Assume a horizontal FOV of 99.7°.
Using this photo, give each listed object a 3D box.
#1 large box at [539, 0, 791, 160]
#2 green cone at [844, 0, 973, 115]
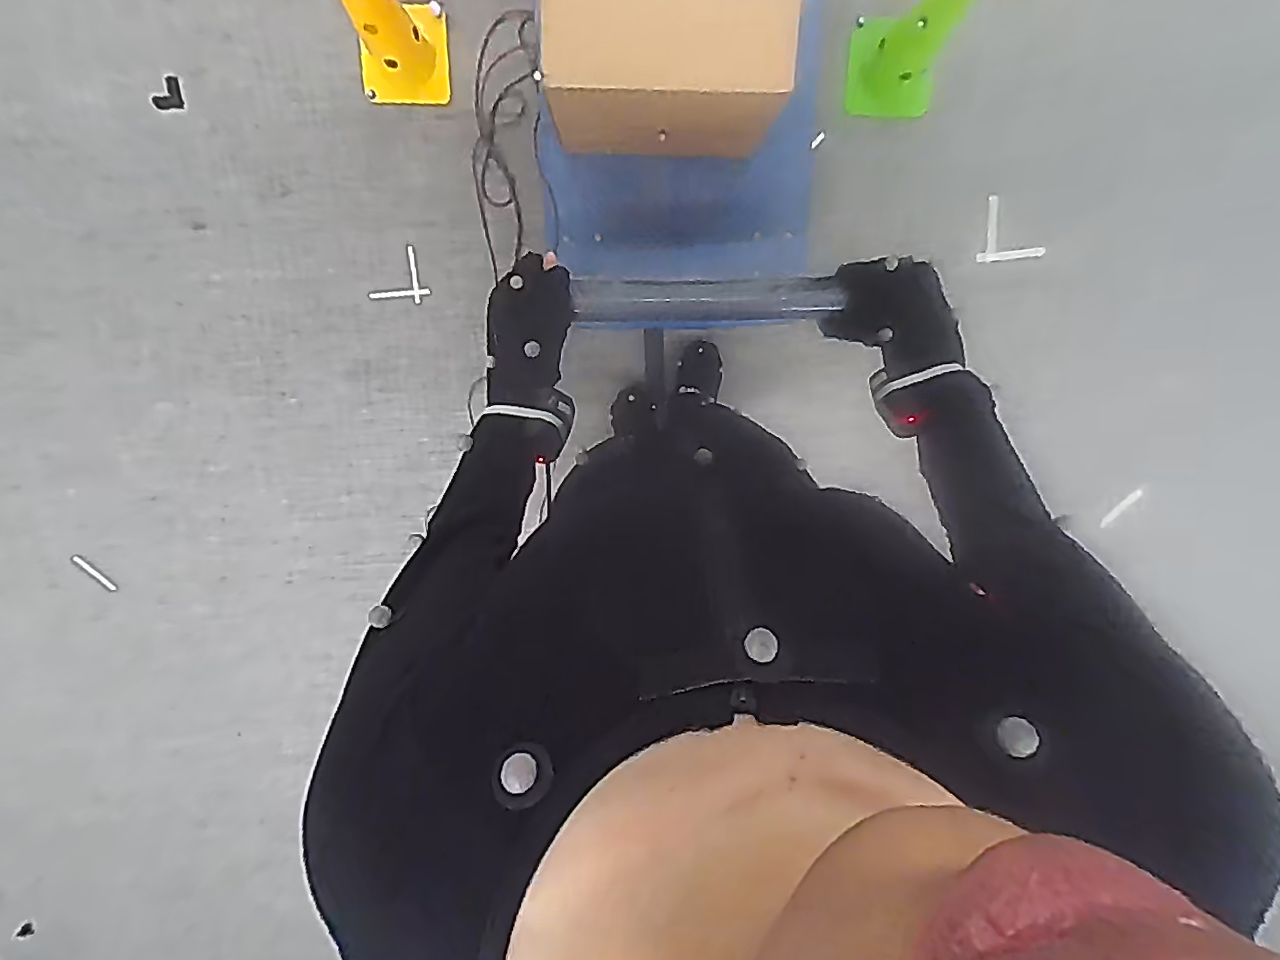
[{"bbox_3d":[0.040,-0.801,0.986,0.408,0.320,0.320,0,103,0],"label":"large box"},{"bbox_3d":[0.590,-0.938,1.109,0.202,0.368,0.200,0,102,-2],"label":"green cone"}]
